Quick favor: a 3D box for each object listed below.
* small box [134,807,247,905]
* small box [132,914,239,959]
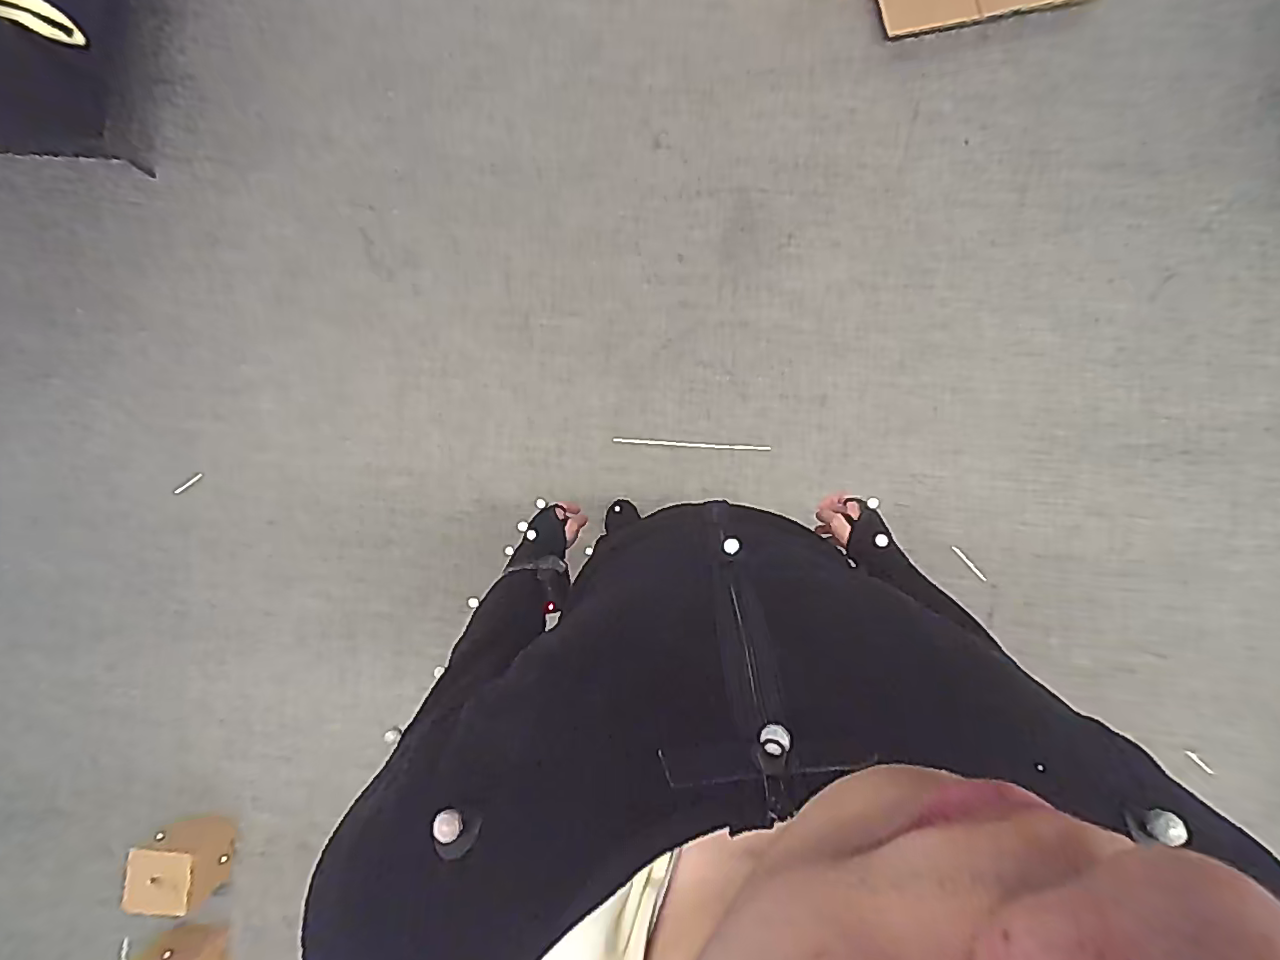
[{"bbox_3d":[-1.289,1.074,1.560,0.179,0.176,0.168,5,88,2],"label":"small box"},{"bbox_3d":[-1.303,1.388,1.547,0.179,0.176,0.168,3,87,1],"label":"small box"}]
